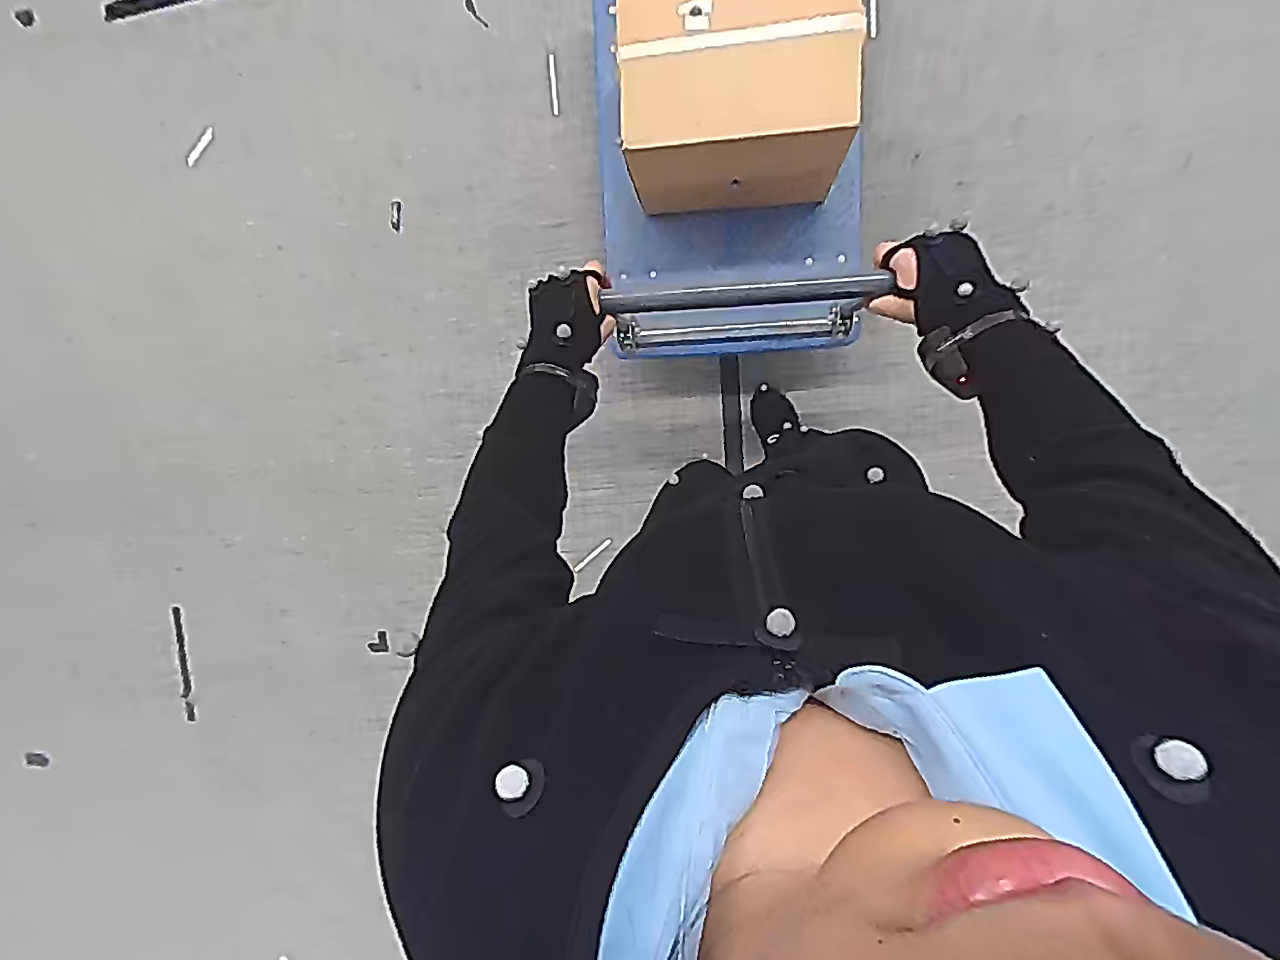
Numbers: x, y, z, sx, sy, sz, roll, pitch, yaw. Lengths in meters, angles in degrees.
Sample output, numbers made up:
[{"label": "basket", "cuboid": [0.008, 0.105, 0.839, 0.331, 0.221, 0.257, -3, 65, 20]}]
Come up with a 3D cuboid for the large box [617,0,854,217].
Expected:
[{"label": "large box", "cuboid": [0.186, -0.755, 1.079, 0.408, 0.320, 0.320, -1, 94, 9]}]
